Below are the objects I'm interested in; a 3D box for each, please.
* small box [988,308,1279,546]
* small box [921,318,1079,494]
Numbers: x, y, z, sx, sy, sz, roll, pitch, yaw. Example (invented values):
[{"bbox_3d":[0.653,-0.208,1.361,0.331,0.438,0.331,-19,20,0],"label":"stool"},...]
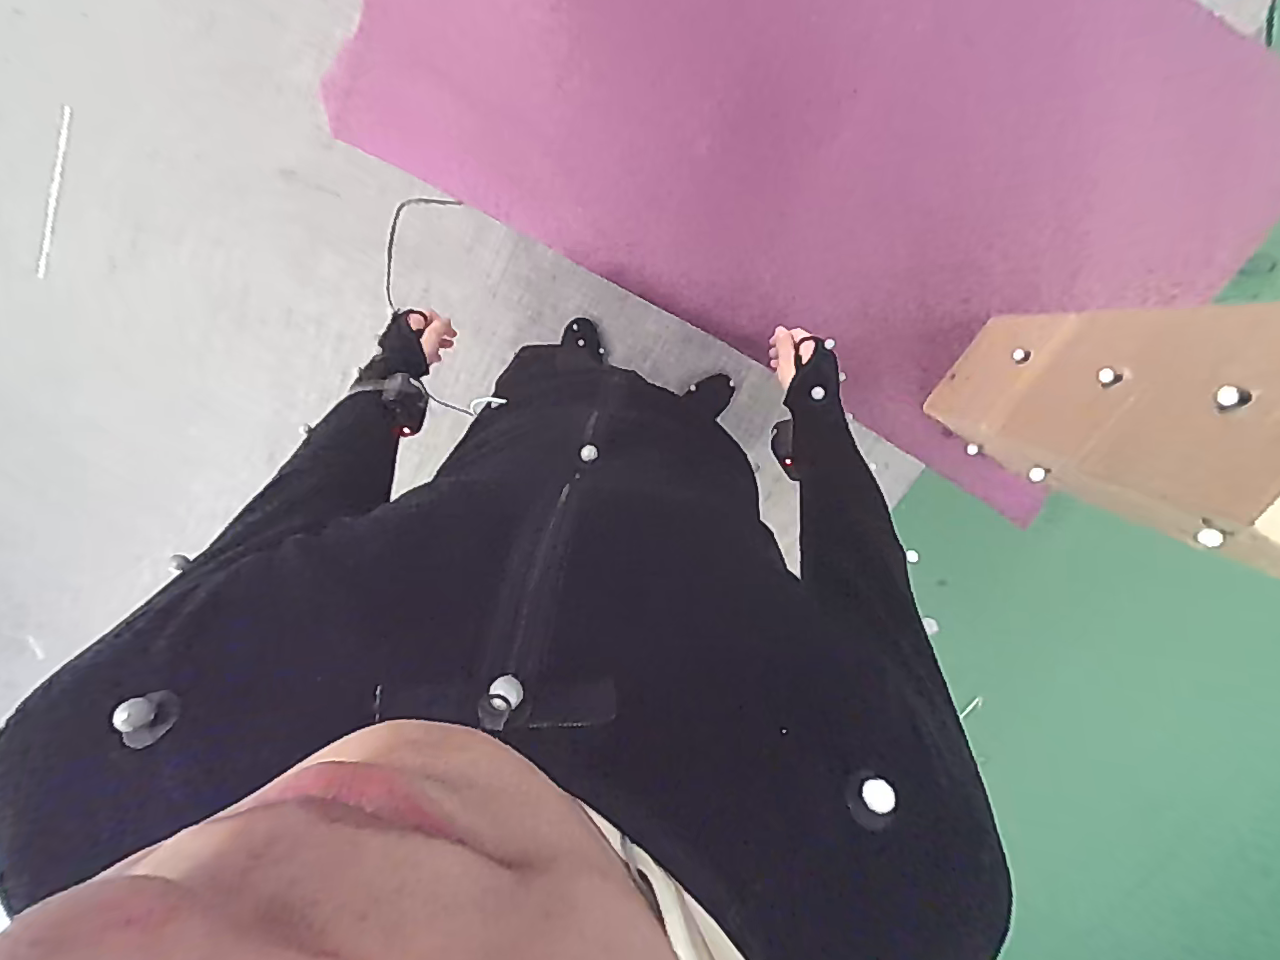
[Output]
[{"bbox_3d":[0.537,-0.066,0.592,0.168,0.176,0.179,32,105,-5],"label":"small box"},{"bbox_3d":[0.540,-0.110,0.749,0.179,0.176,0.168,32,104,-7],"label":"small box"}]
